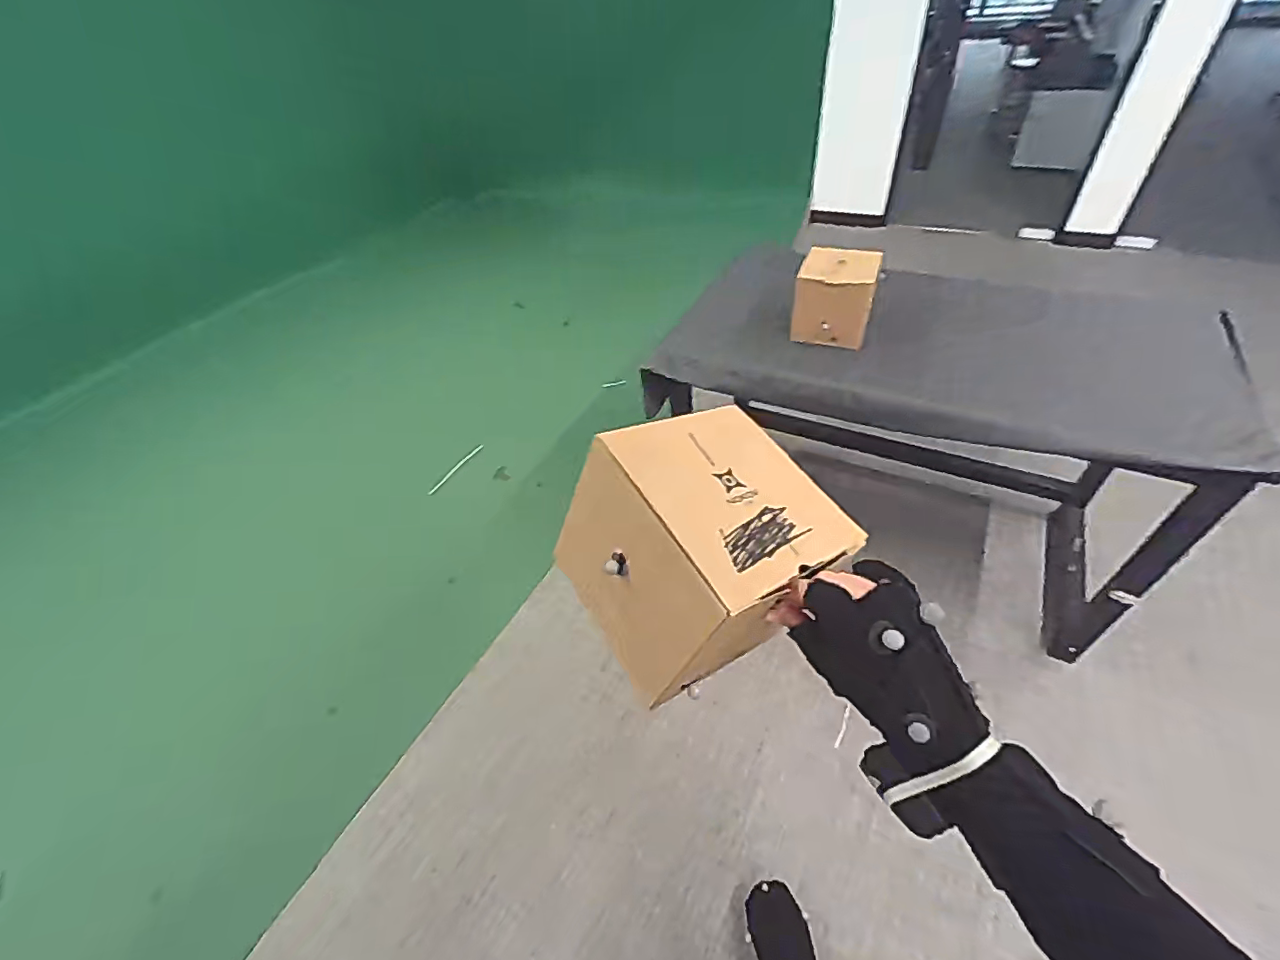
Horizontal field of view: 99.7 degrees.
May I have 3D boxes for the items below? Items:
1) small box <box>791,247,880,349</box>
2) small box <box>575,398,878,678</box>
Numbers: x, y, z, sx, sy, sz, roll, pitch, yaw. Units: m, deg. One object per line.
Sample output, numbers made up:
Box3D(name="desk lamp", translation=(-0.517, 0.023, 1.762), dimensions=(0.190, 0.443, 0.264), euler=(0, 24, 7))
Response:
Box3D(name="small box", translation=(0.475, -0.449, 1.329), dimensions=(0.168, 0.176, 0.179), euler=(14, 49, 20))
Box3D(name="small box", translation=(0.063, 0.053, 0.489), dimensions=(0.168, 0.176, 0.179), euler=(-14, 55, -35))
